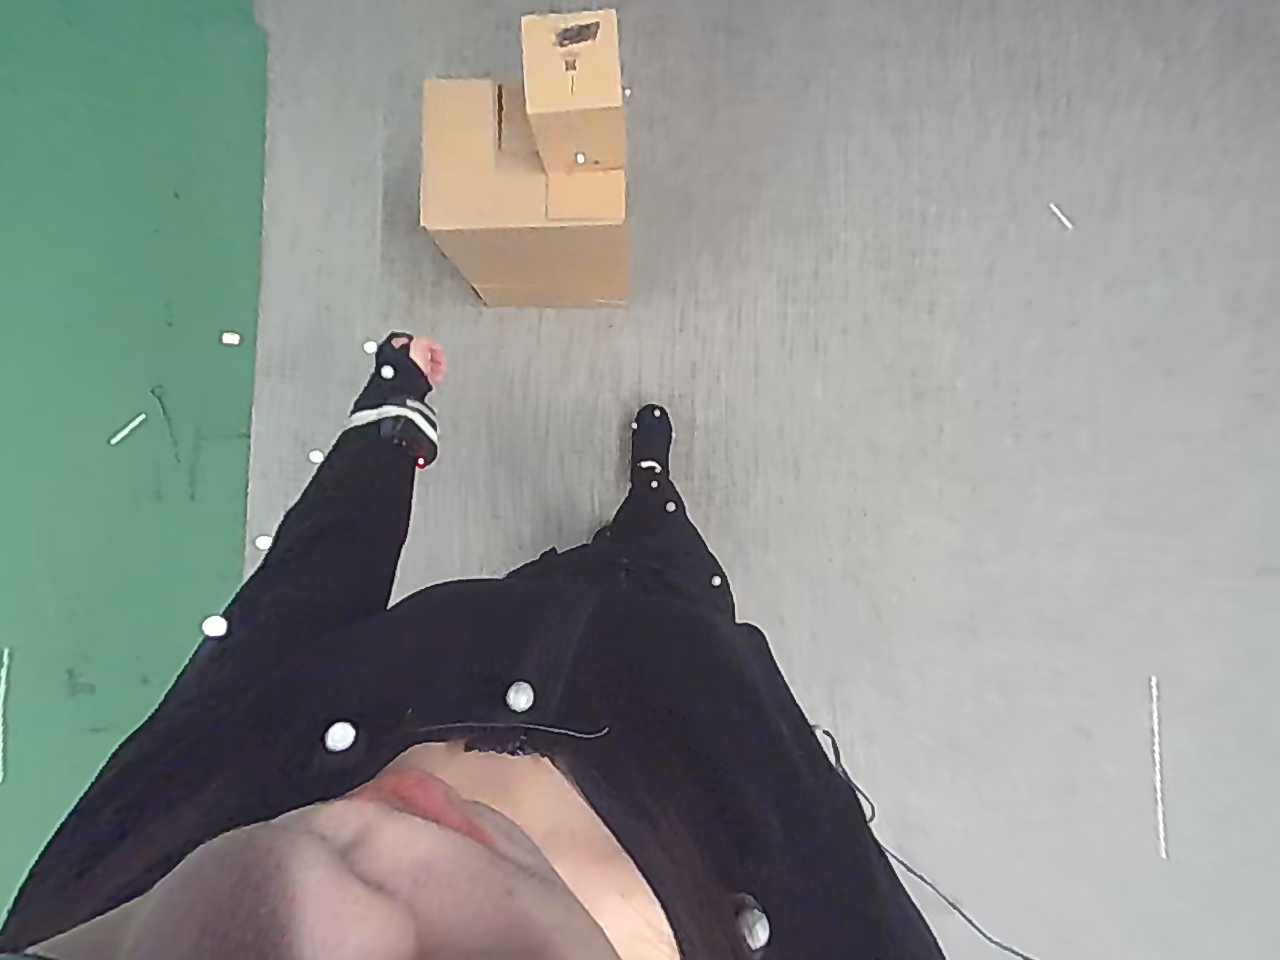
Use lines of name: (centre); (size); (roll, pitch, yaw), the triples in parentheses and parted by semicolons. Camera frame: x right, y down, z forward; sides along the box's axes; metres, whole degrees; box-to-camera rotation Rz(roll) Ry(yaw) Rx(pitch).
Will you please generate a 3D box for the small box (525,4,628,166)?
small box: (-0.111, -0.717, 0.997); (0.168, 0.176, 0.179); (-3, 89, 2)
